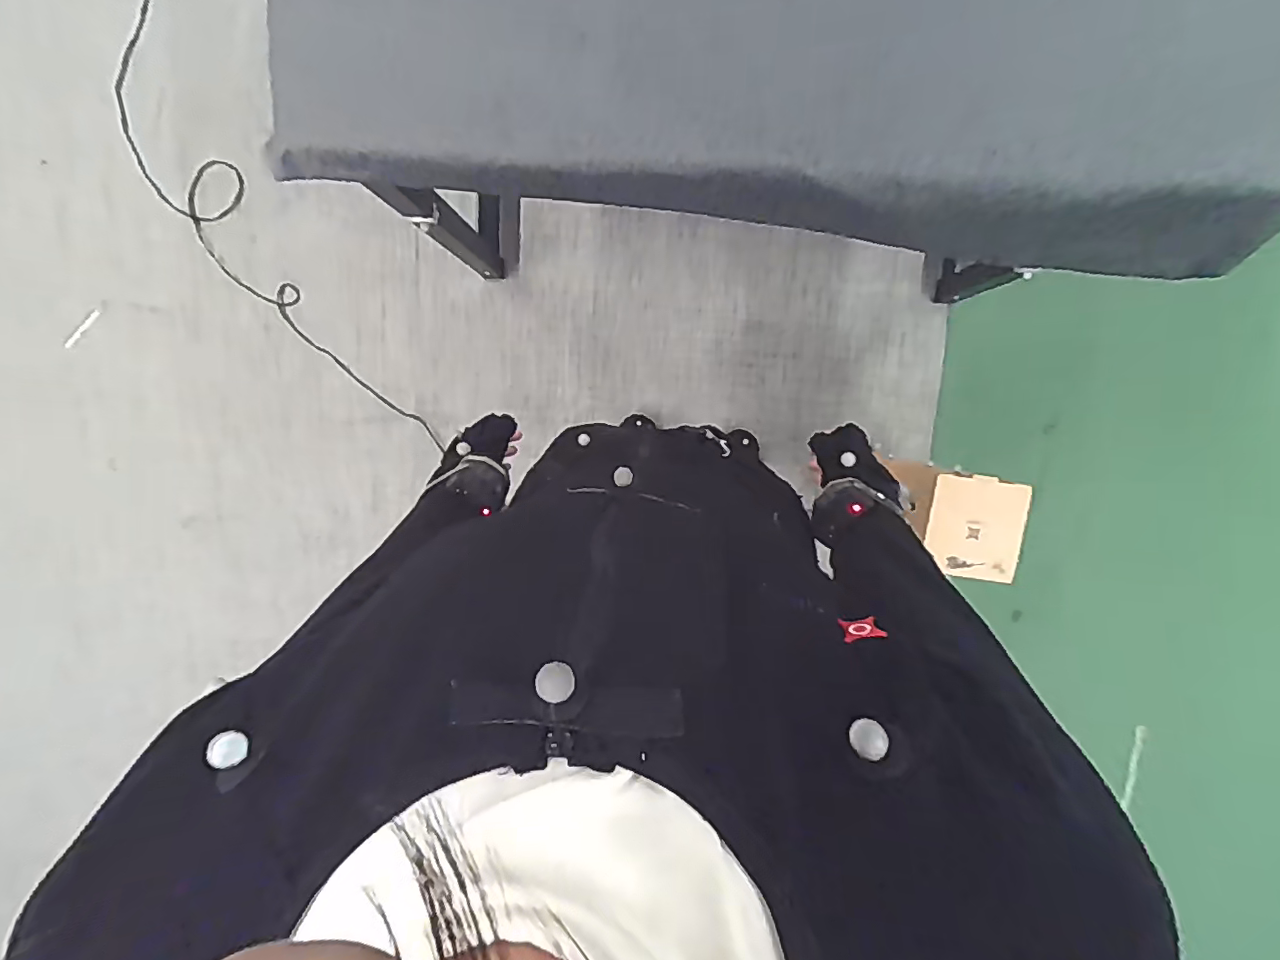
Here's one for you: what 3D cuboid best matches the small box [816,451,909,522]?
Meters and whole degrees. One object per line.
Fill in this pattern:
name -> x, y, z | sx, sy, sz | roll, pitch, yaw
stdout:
small box -> 0.559, 0.021, 1.339 | 0.179, 0.176, 0.168 | 8, 97, 1

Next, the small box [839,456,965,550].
small box -> 0.560, 0.043, 1.176 | 0.179, 0.176, 0.168 | 8, 97, 0
